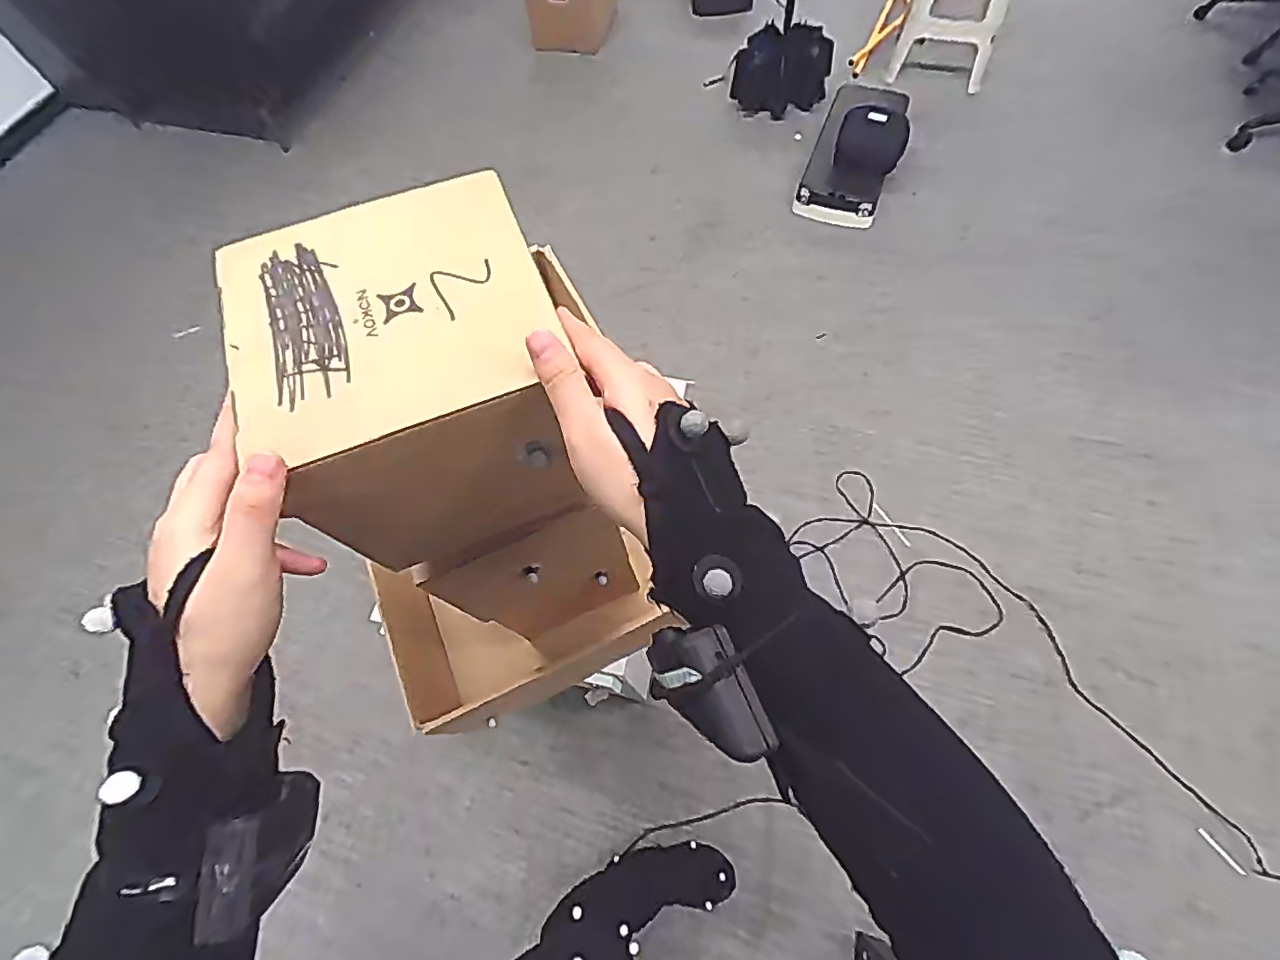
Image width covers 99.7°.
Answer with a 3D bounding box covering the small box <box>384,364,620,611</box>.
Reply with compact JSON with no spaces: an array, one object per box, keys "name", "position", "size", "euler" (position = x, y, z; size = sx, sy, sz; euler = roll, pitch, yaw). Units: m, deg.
[{"name":"small box","position":[-0.129,0.017,0.566],"size":[0.179,0.176,0.168],"euler":[-24,64,-5]}]
